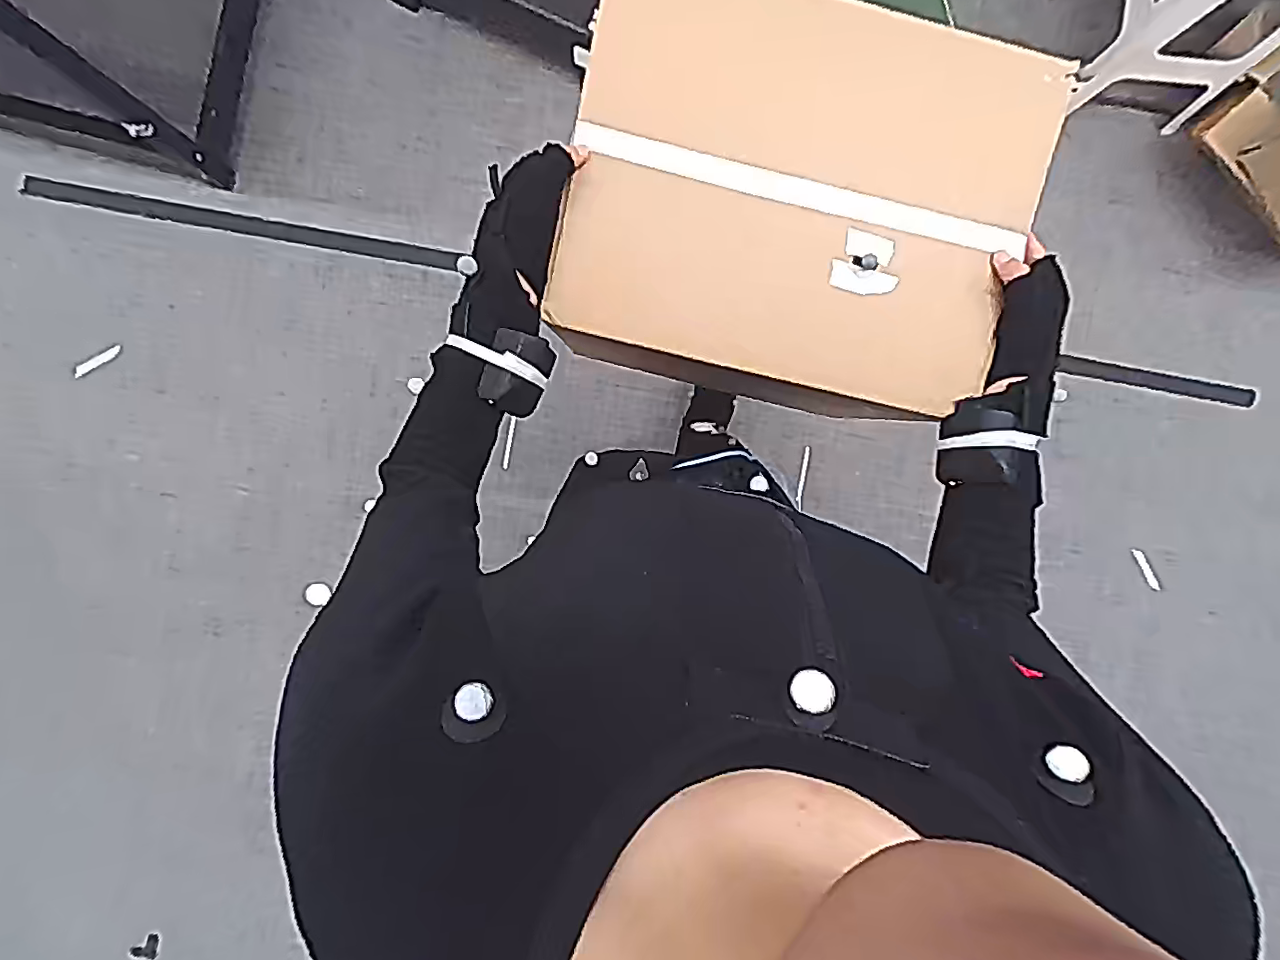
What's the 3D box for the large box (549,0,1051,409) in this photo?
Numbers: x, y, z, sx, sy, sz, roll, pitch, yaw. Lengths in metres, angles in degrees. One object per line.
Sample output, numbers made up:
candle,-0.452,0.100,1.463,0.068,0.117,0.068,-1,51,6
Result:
large box,0.133,-0.275,0.631,0.408,0.320,0.320,13,98,-4
